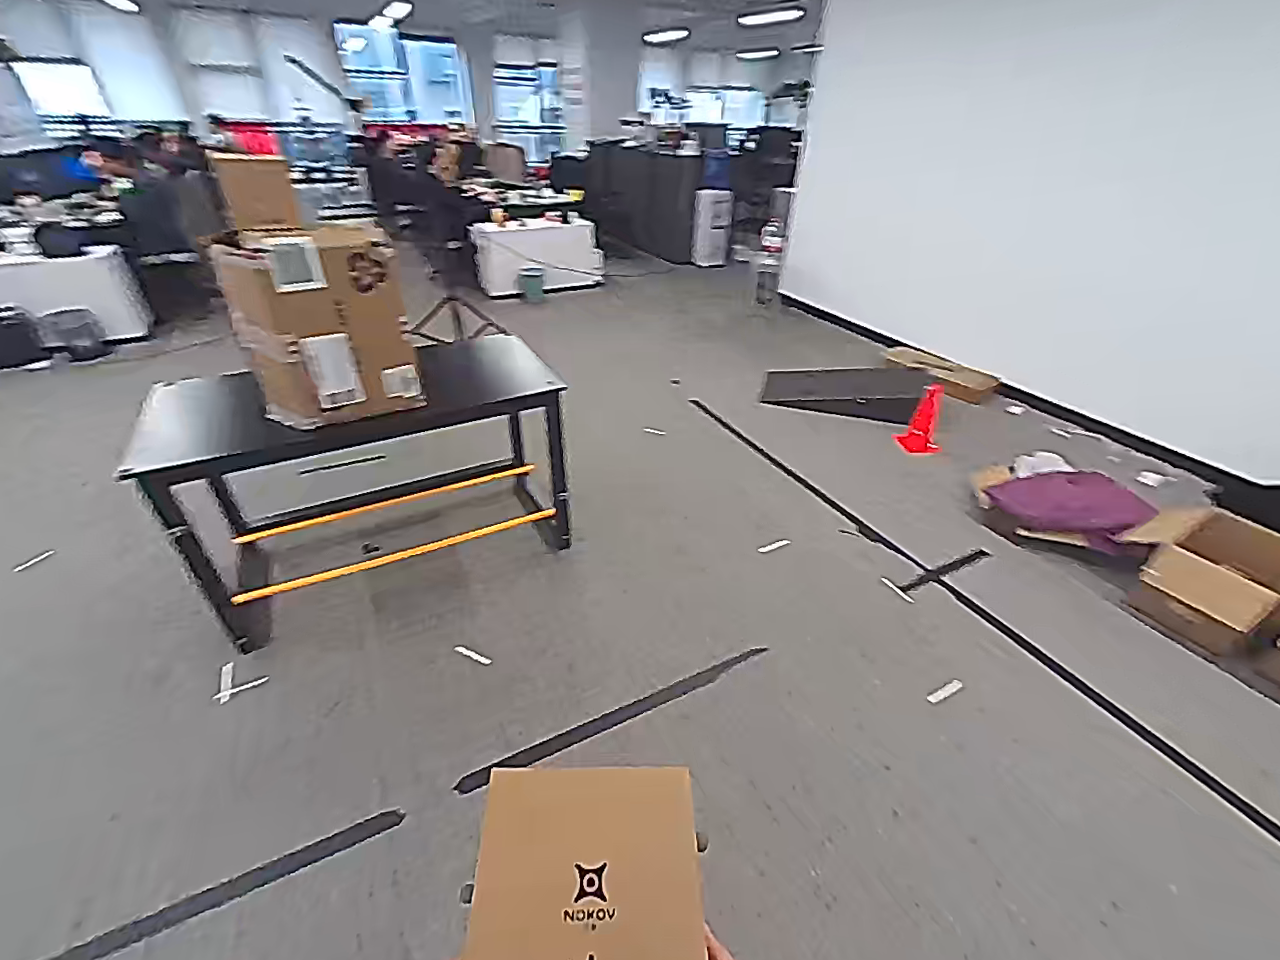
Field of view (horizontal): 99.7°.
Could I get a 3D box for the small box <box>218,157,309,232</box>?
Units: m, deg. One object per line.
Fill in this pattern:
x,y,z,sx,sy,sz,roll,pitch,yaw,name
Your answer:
-1.032,-0.785,1.485,0.168,0.176,0.179,-18,37,-29,small box

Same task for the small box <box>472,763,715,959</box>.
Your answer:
-0.039,0.355,0.442,0.168,0.176,0.179,2,43,-5,small box
